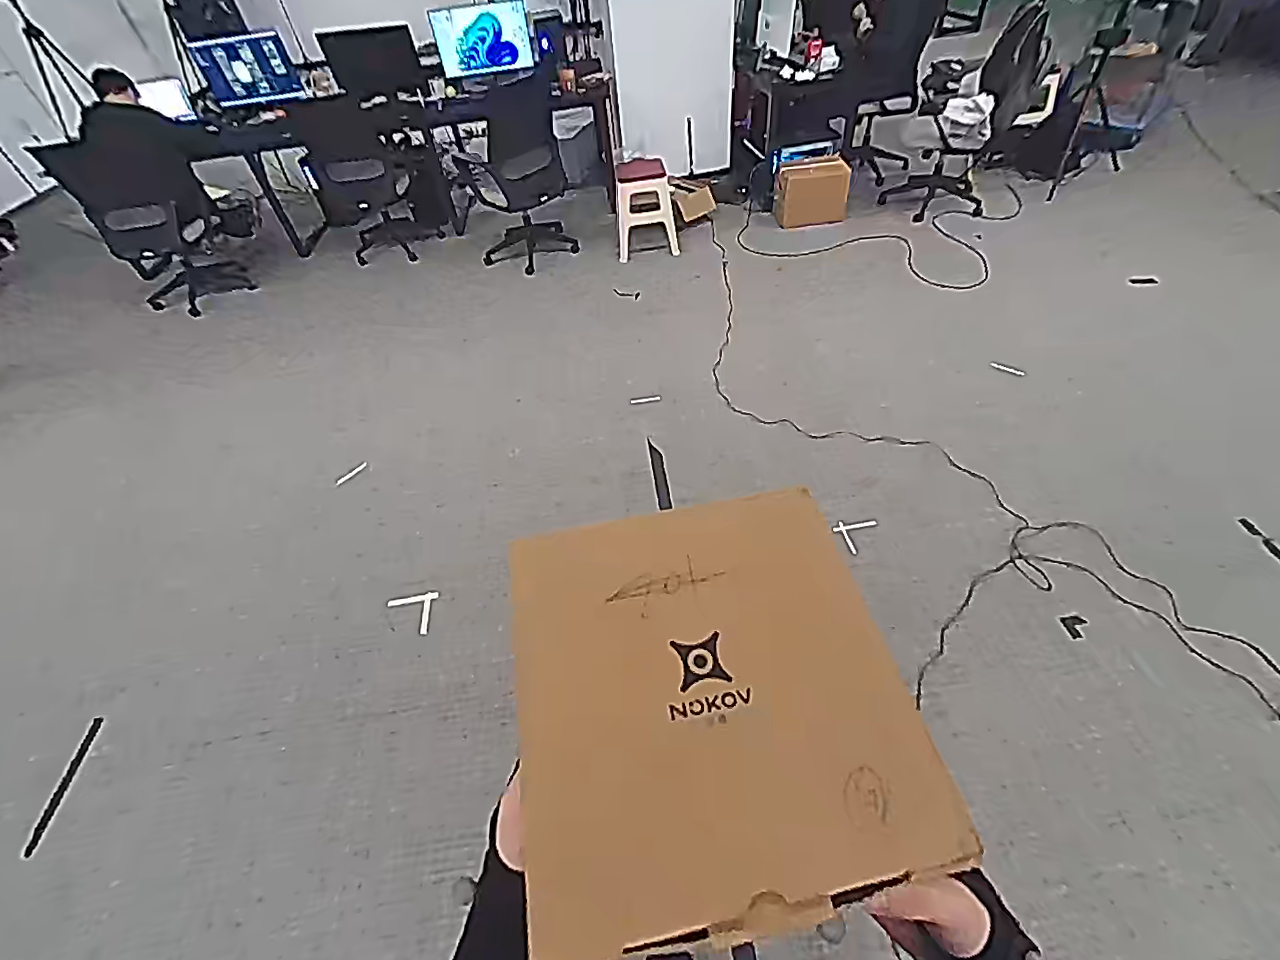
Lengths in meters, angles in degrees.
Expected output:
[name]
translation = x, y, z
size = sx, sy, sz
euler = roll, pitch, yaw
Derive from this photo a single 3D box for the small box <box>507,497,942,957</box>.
[small box]
translation = 0.026, 0.139, 0.314
size = 0.168, 0.176, 0.179
euler = -10, 51, -6
